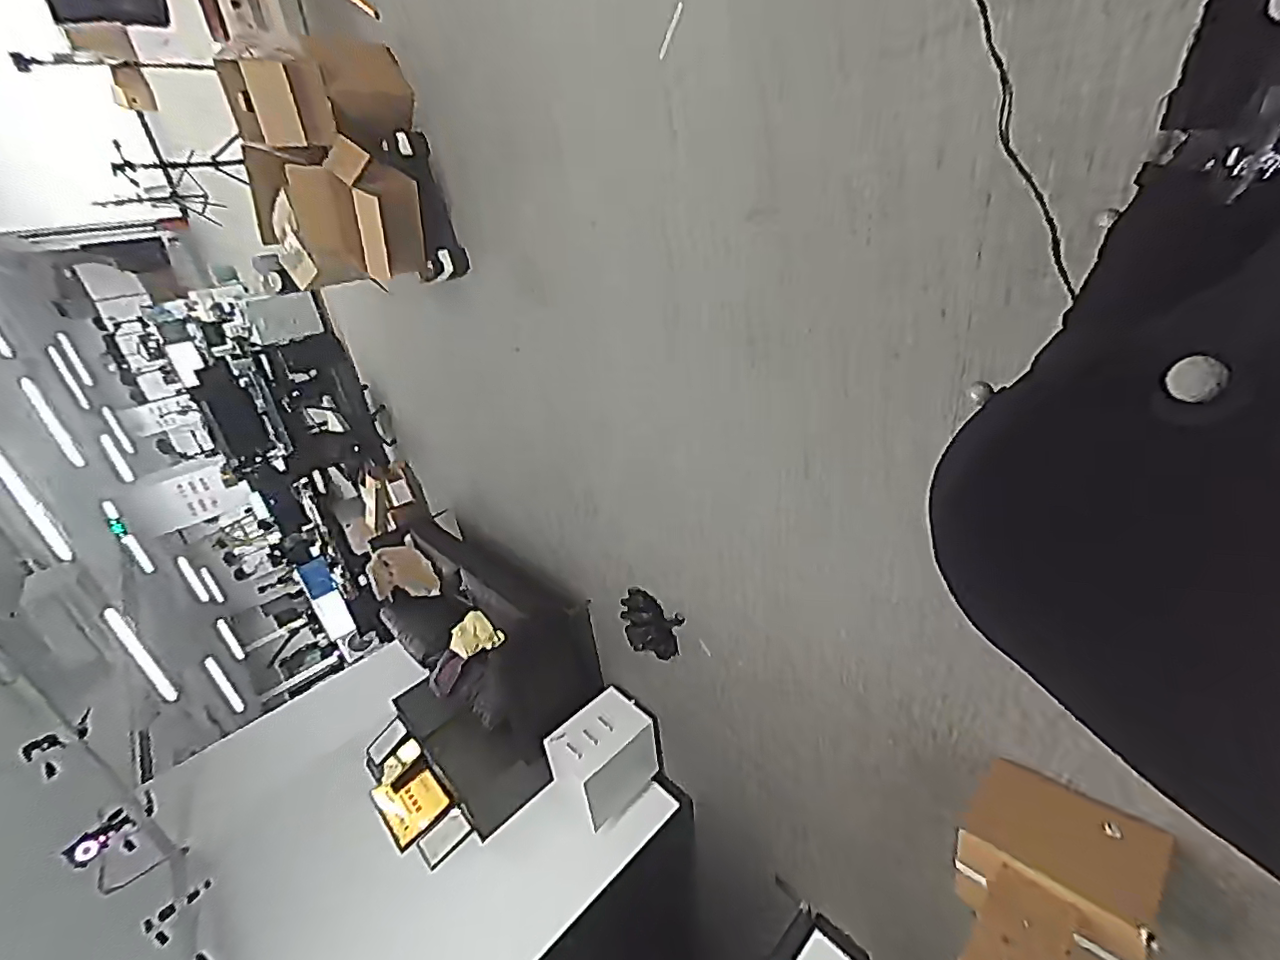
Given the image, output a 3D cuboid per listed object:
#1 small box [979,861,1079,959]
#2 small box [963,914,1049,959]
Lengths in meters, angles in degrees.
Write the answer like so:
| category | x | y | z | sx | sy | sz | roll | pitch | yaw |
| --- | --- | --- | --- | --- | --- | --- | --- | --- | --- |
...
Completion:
| category | x | y | z | sx | sy | sz | roll | pitch | yaw |
| --- | --- | --- | --- | --- | --- | --- | --- | --- | --- |
| small box | 0.993 | 1.139 | 1.386 | 0.179 | 0.176 | 0.168 | 16 | 124 | 47 |
| small box | 0.875 | 1.209 | 1.296 | 0.168 | 0.176 | 0.179 | 15 | 123 | 45 |
